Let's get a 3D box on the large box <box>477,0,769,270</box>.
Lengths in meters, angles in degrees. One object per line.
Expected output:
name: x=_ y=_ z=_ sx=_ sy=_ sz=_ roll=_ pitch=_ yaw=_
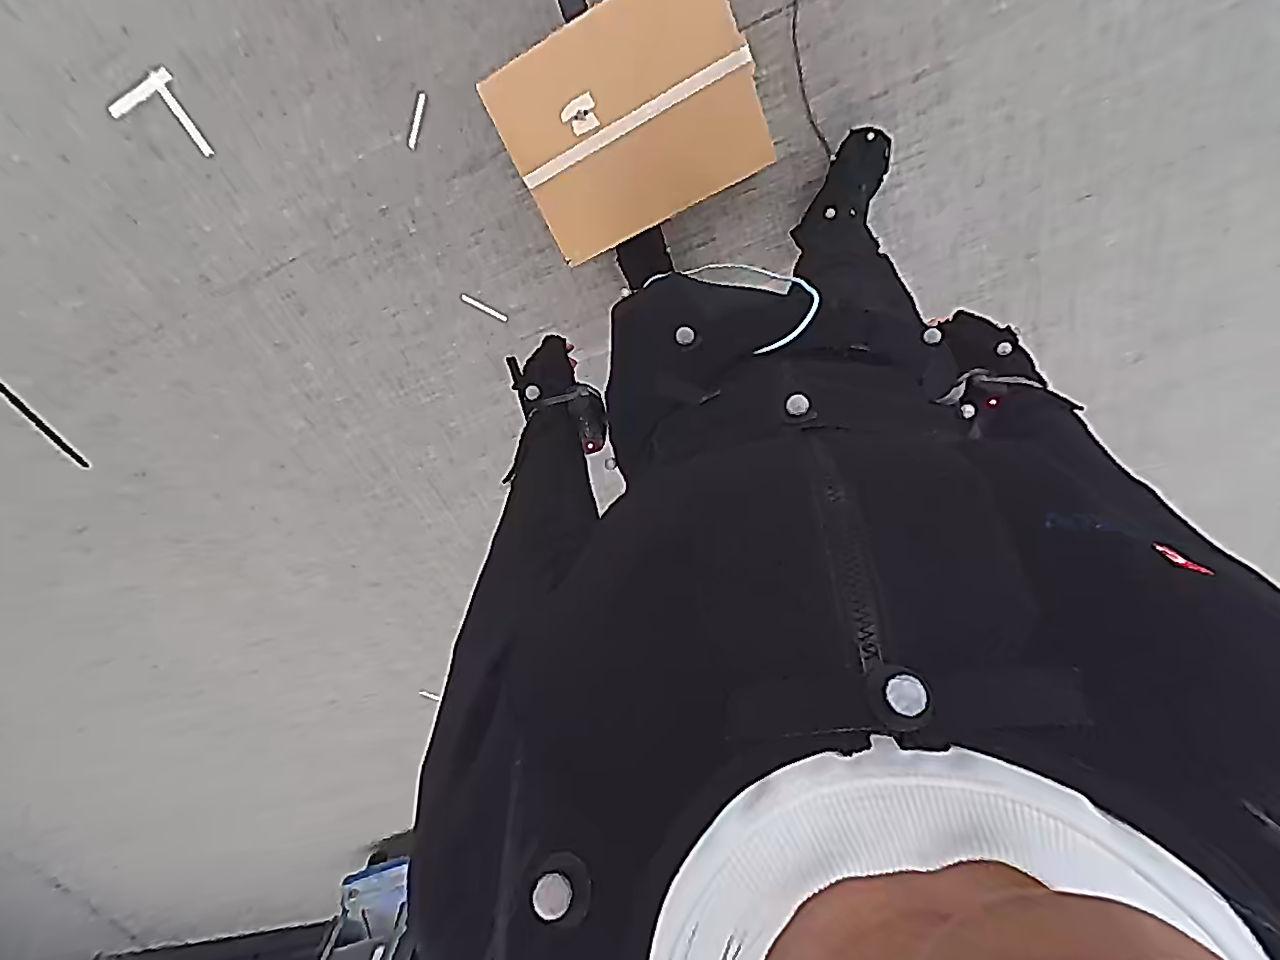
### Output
large box: x=-0.015 y=-0.657 z=1.014 sx=0.408 sy=0.320 sz=0.320 roll=-21 pitch=117 yaw=16
